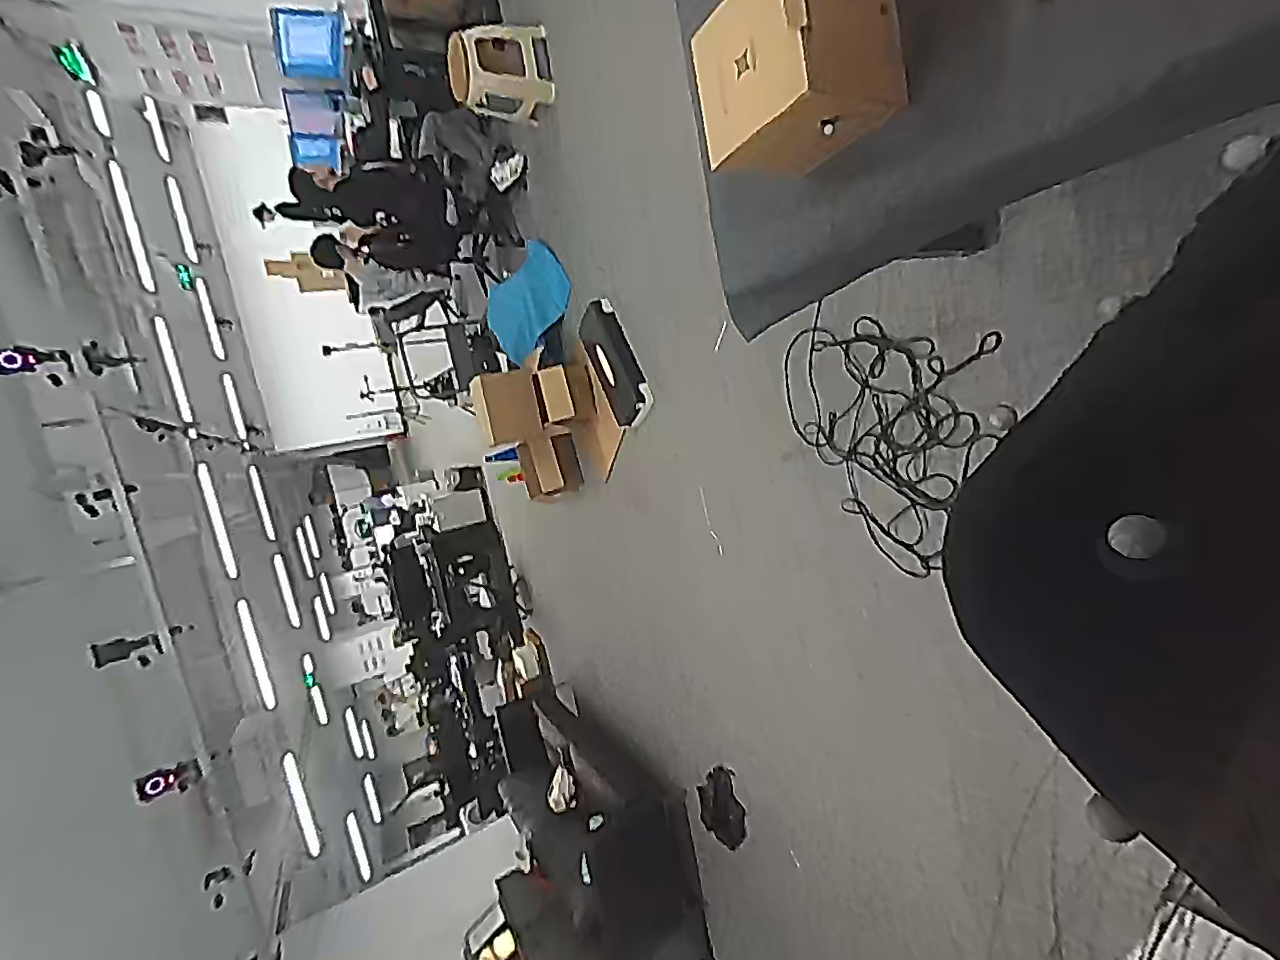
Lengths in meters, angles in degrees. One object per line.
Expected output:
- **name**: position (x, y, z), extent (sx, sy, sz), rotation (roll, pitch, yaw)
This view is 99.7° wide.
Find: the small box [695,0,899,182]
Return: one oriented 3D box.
- **small box**: position (0.196, -0.495, 0.670), extent (0.179, 0.176, 0.168), rotation (-1, 100, 62)
